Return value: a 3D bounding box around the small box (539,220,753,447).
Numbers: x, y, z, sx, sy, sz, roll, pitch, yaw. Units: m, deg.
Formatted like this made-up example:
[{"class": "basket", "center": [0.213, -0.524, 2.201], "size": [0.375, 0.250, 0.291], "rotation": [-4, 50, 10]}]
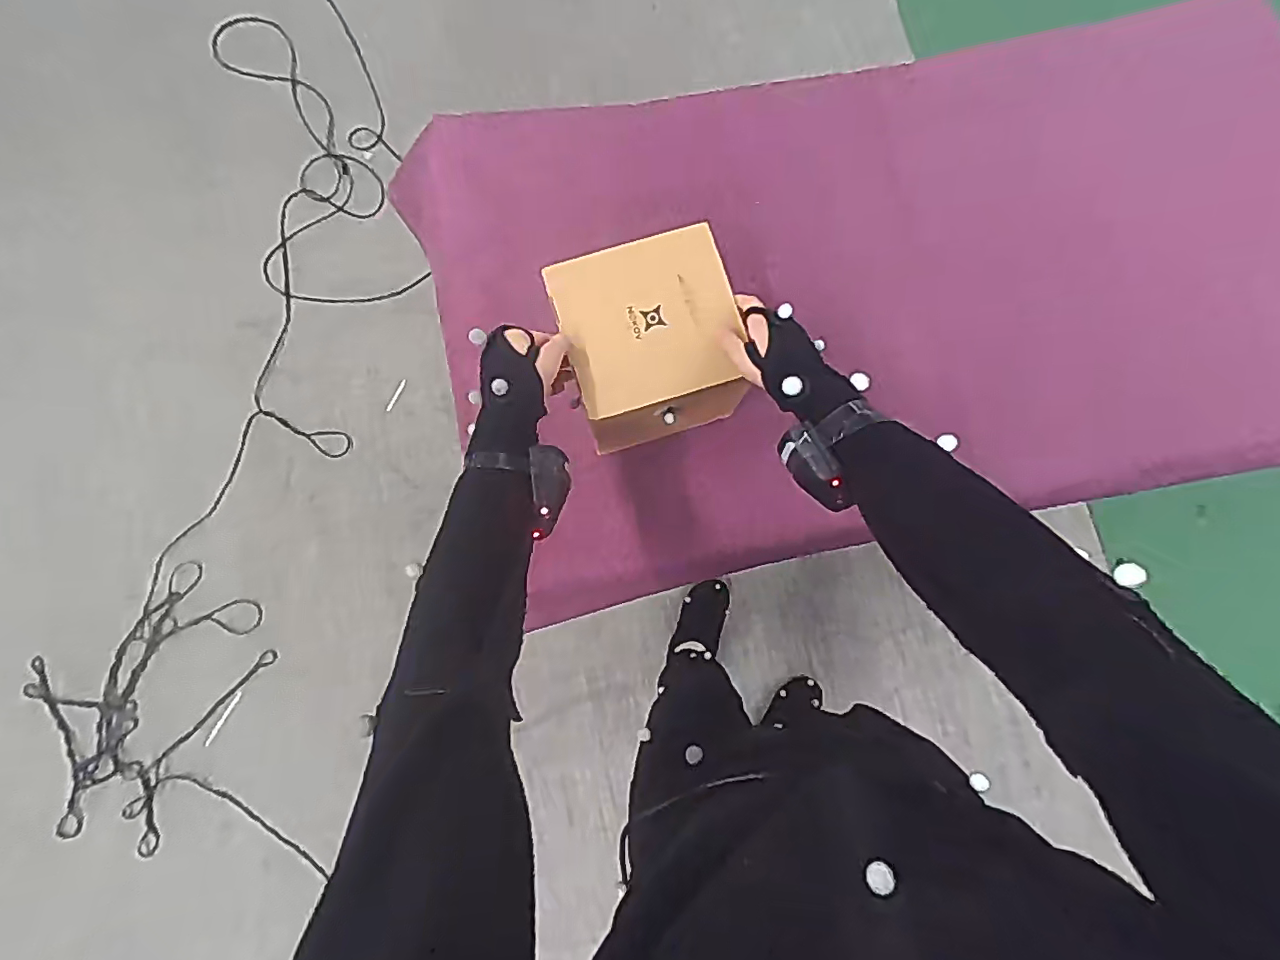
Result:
[{"class": "small box", "center": [0.005, -0.147, 0.600], "size": [0.179, 0.176, 0.168], "rotation": [-16, 83, -3]}]
